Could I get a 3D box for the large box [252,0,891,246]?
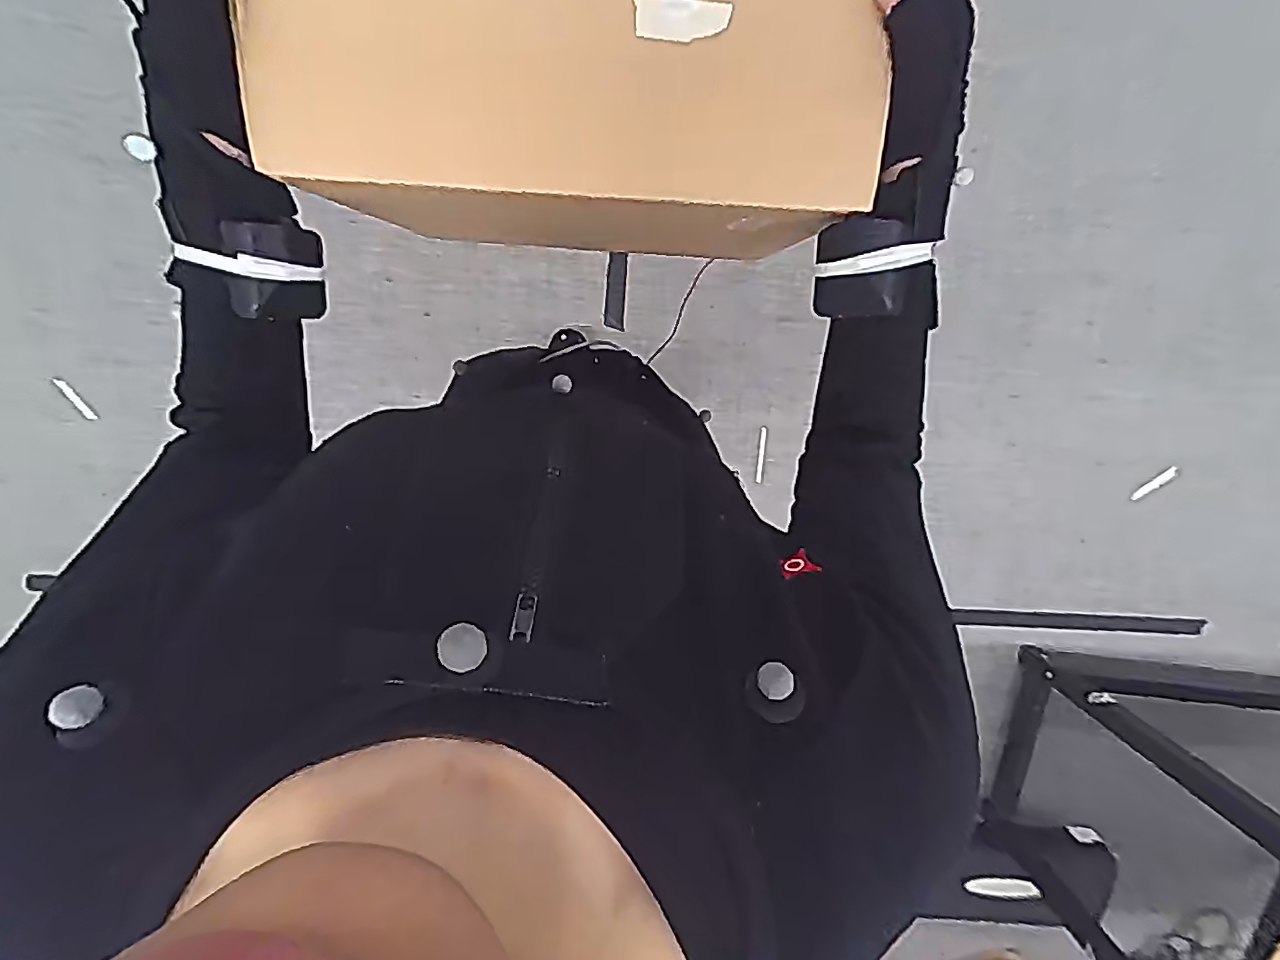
[{"bbox_3d":[-0.043,-0.391,0.463,0.408,0.320,0.320,2,108,-3],"label":"large box"}]
